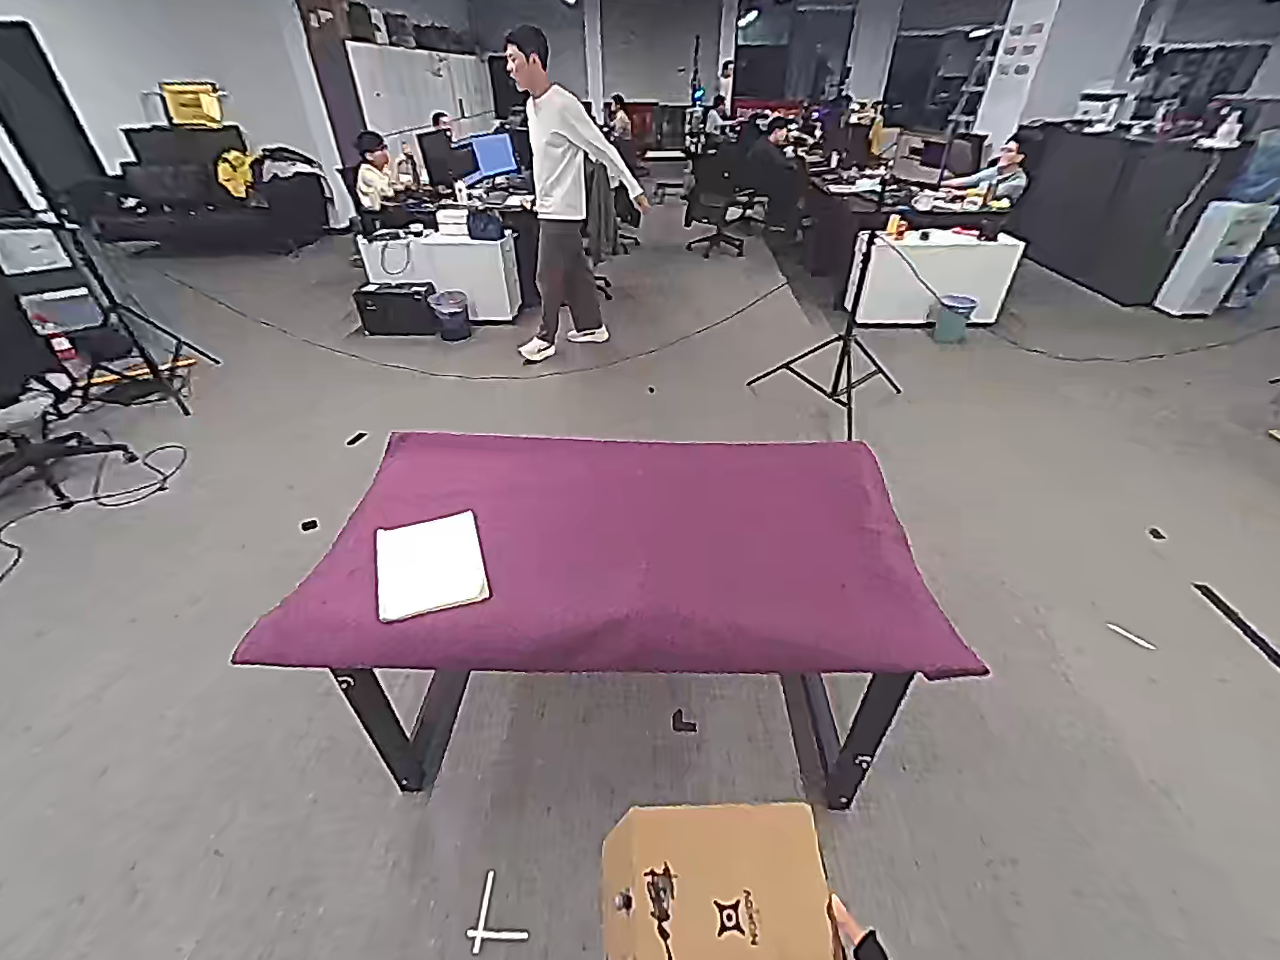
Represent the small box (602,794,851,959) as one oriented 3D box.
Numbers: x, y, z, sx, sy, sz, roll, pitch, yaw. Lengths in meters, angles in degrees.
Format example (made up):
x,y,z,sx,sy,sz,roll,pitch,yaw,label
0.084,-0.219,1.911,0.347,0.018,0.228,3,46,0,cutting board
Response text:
x,y,z,sx,sy,sz,roll,pitch,yaw,label
0.065,0.400,0.497,0.179,0.176,0.168,6,47,-11,small box
